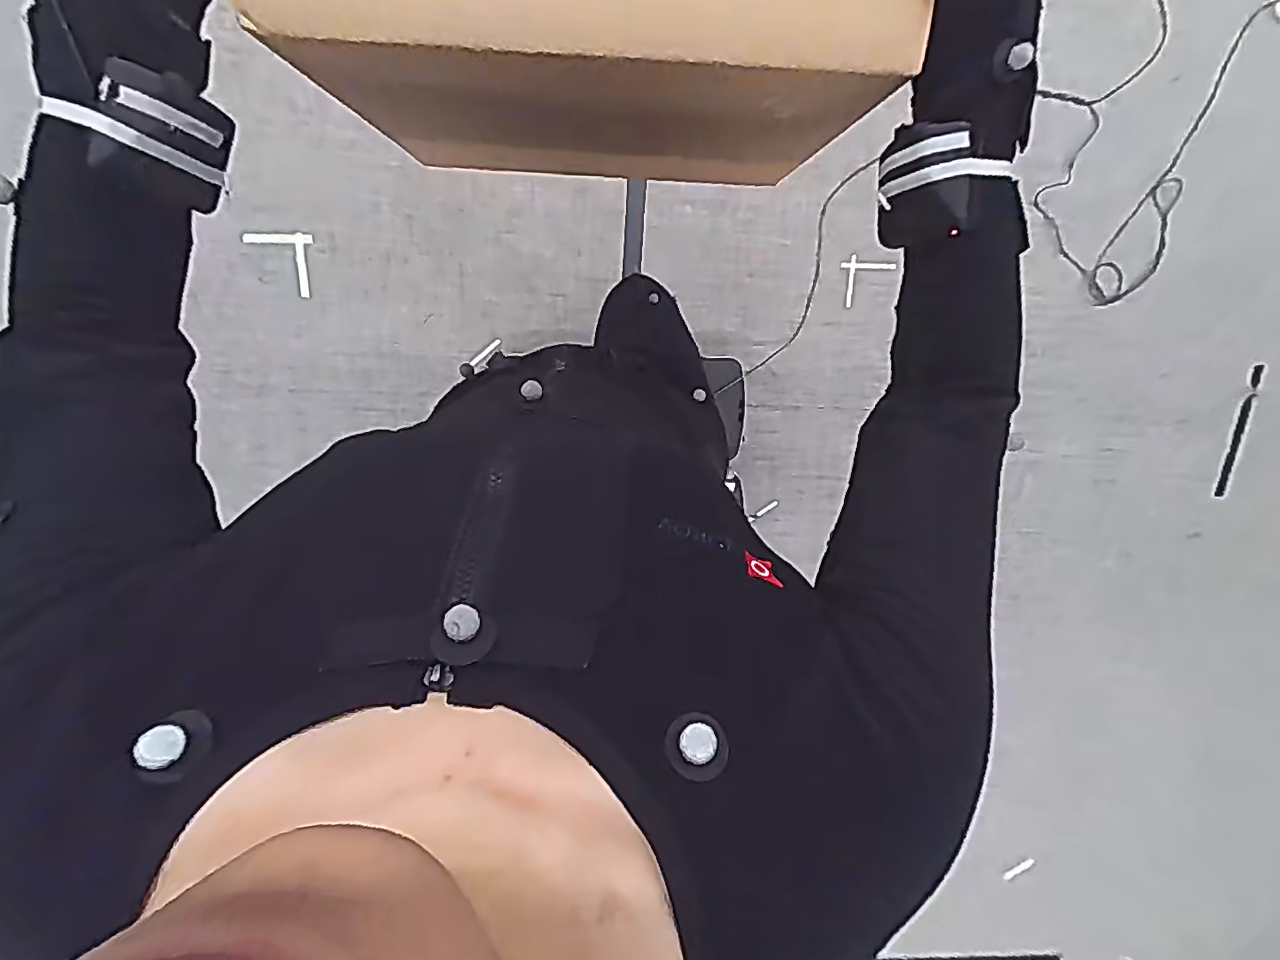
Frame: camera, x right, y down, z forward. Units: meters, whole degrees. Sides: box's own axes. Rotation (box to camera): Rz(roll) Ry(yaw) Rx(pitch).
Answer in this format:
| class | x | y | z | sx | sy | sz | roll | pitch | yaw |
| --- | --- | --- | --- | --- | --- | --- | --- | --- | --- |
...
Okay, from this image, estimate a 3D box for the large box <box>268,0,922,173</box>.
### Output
| class | x | y | z | sx | sy | sz | roll | pitch | yaw |
| --- | --- | --- | --- | --- | --- | --- | --- | --- | --- |
| large box | -0.029 | -0.458 | 0.432 | 0.408 | 0.320 | 0.320 | 1 | 108 | -4 |
